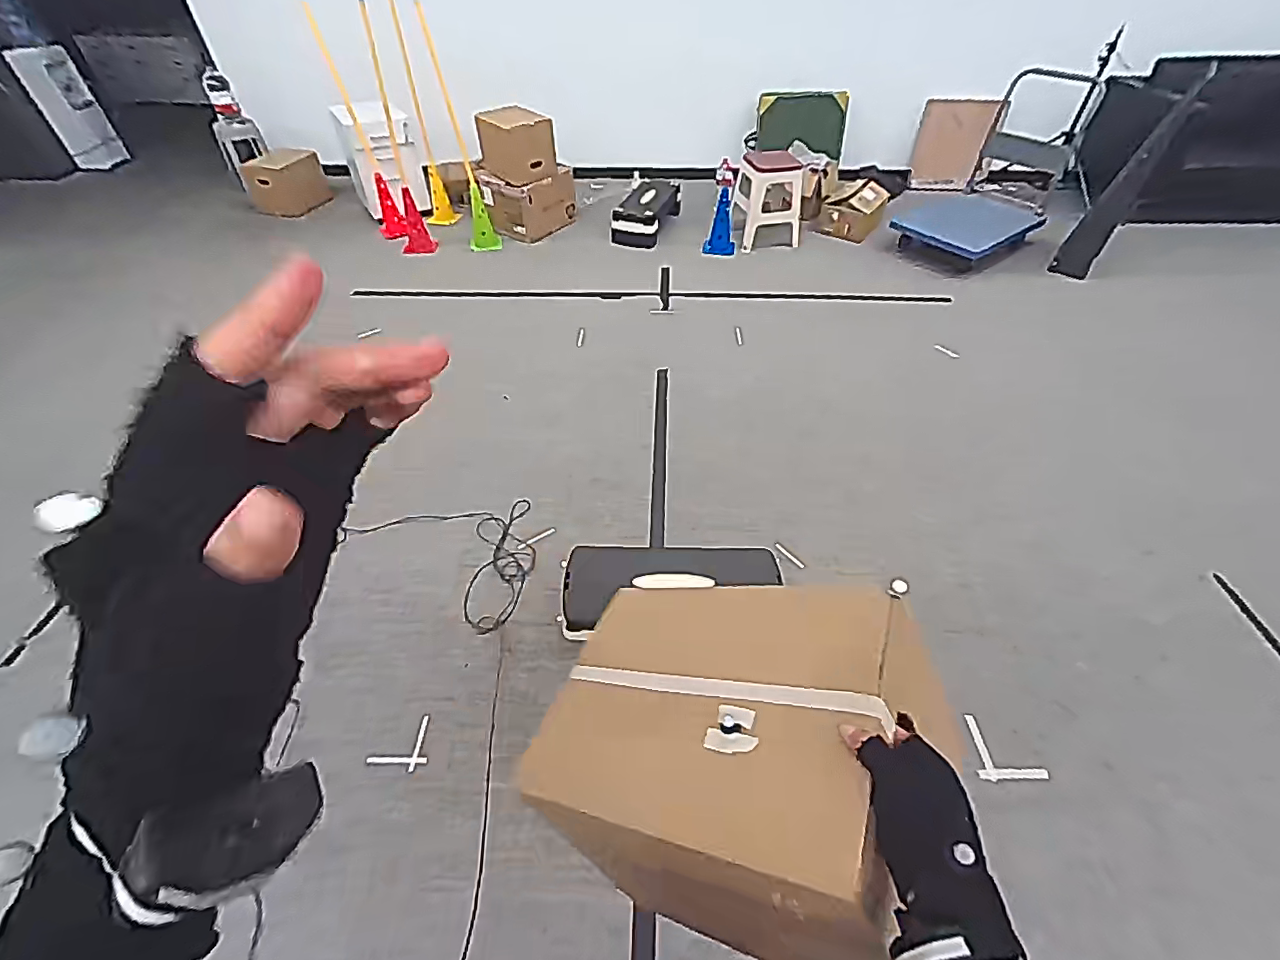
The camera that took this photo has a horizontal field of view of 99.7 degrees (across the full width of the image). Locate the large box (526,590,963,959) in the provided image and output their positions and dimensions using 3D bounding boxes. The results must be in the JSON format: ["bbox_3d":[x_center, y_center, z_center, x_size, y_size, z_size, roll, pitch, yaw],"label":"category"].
[{"bbox_3d":[0.146,0.361,0.690,0.408,0.320,0.320,-10,32,39],"label":"large box"}]
